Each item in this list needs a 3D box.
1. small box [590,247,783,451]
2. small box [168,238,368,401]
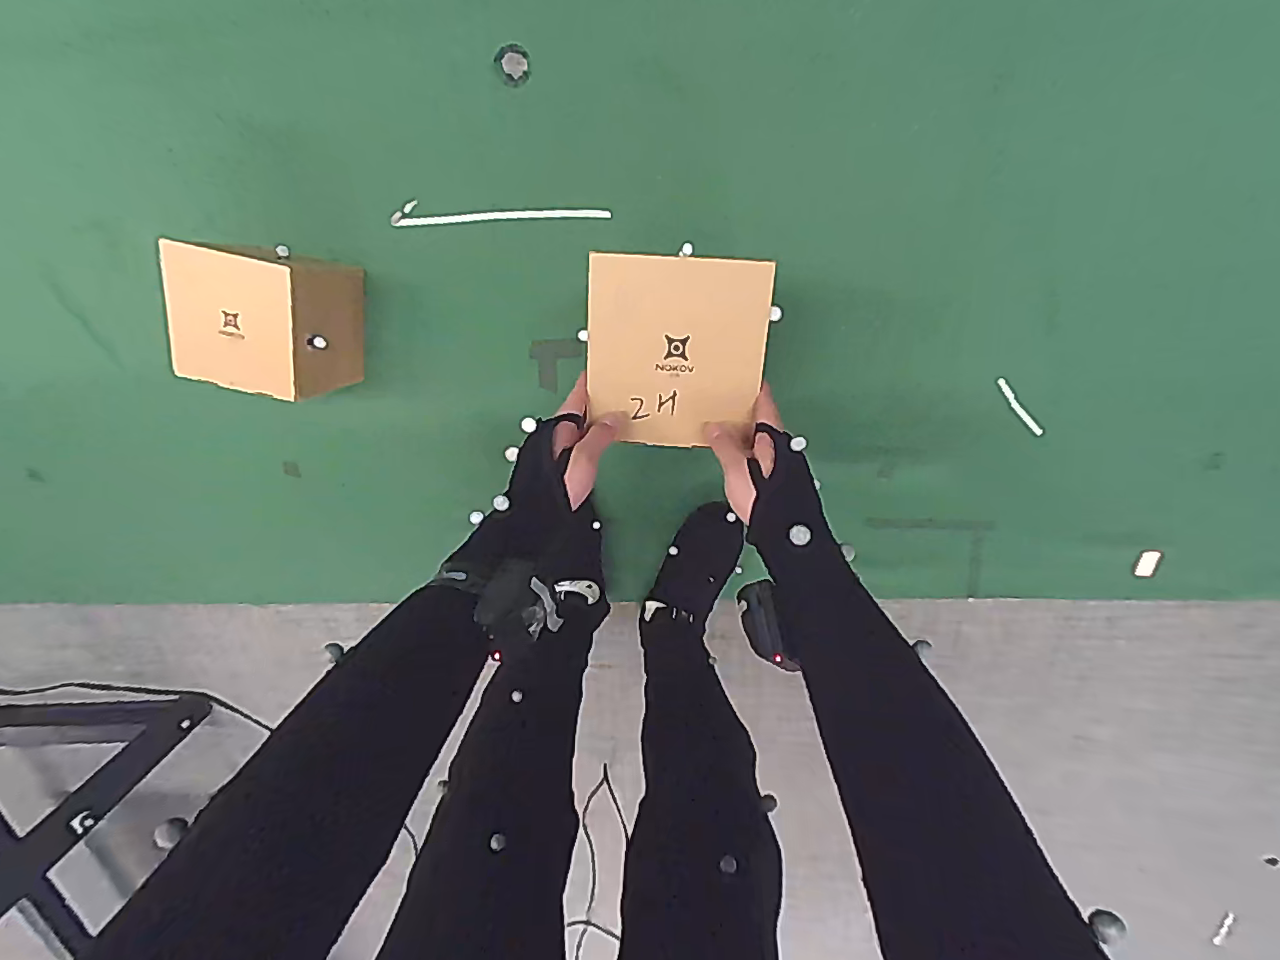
[{"bbox_3d":[0.042,-0.142,0.572,0.168,0.176,0.179,4,110,2],"label":"small box"},{"bbox_3d":[-0.508,-0.231,0.766,0.168,0.176,0.179,13,113,-1],"label":"small box"}]
